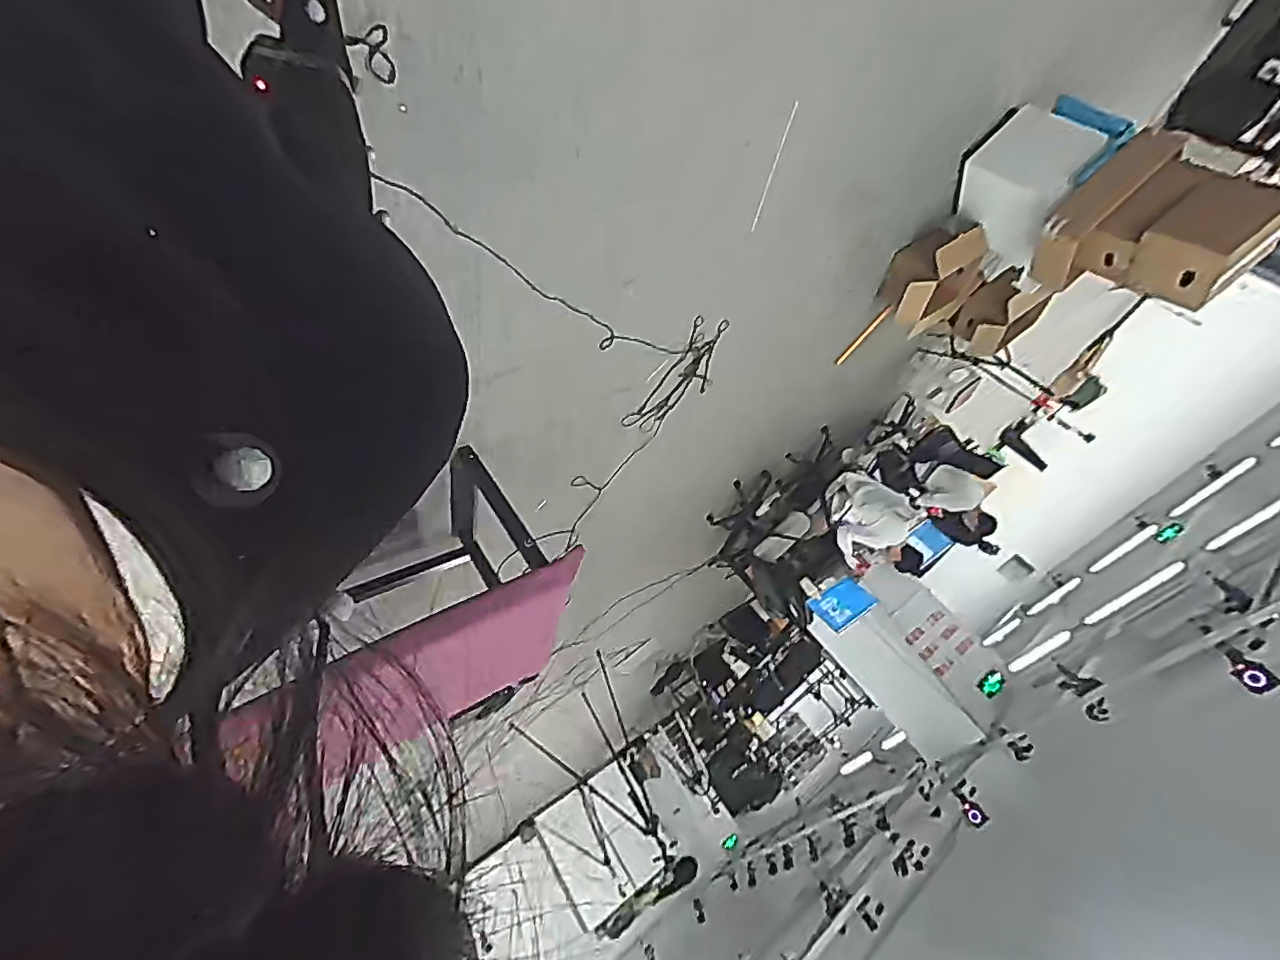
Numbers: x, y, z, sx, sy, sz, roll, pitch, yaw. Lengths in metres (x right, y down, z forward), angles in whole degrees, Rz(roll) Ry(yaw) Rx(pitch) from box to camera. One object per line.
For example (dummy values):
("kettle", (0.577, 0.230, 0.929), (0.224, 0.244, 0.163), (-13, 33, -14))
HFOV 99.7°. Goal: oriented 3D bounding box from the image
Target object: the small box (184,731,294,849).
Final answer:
("small box", (-0.966, 0.740, 1.307), (0.168, 0.176, 0.179), (-20, 147, -35))
